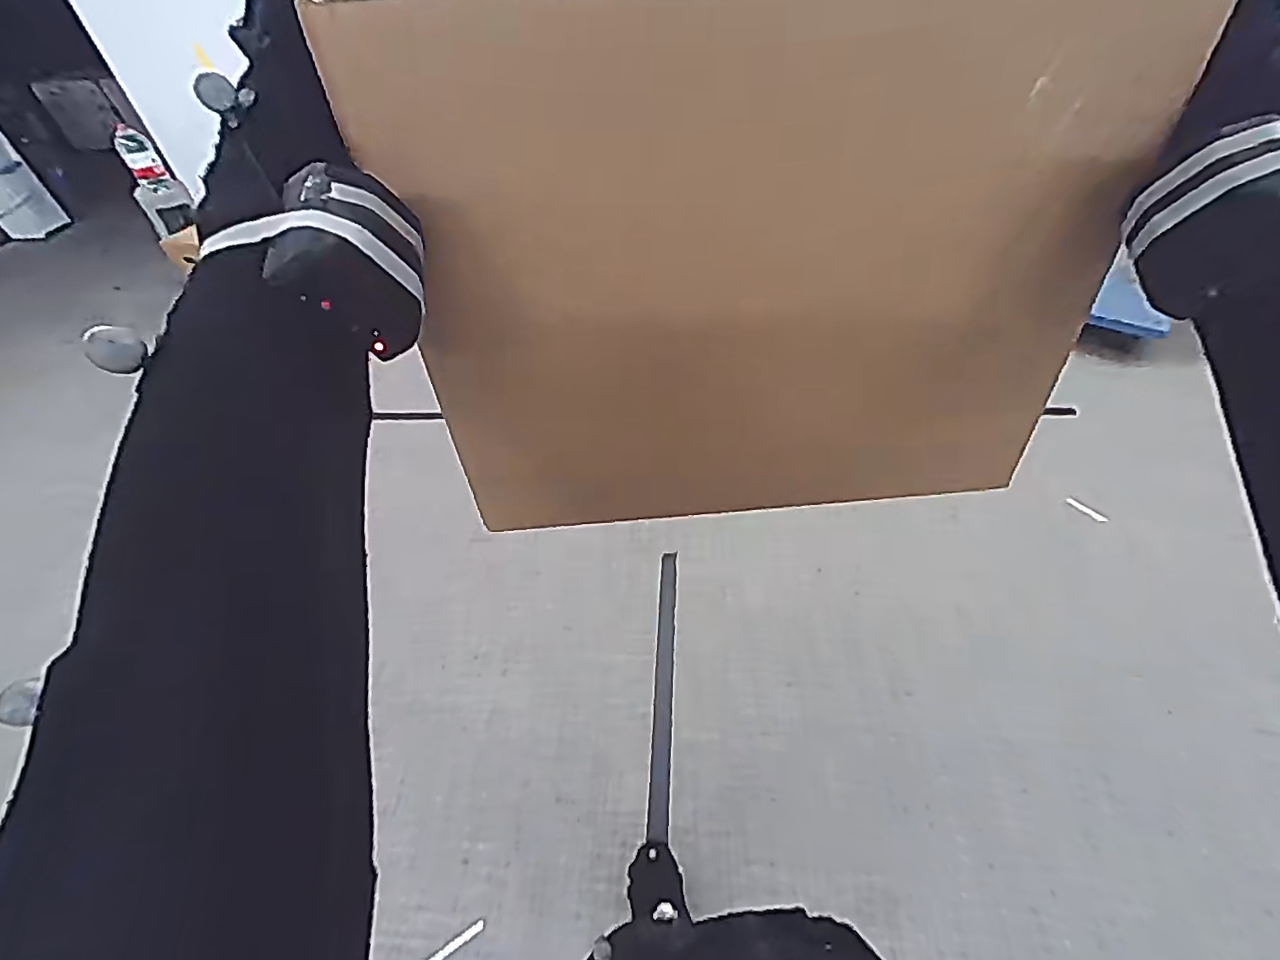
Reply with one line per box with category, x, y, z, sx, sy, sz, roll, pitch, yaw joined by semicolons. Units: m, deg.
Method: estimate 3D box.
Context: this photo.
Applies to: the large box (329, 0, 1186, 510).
large box;0.058;-0.200;0.444;0.408;0.320;0.320;-5;40;0
